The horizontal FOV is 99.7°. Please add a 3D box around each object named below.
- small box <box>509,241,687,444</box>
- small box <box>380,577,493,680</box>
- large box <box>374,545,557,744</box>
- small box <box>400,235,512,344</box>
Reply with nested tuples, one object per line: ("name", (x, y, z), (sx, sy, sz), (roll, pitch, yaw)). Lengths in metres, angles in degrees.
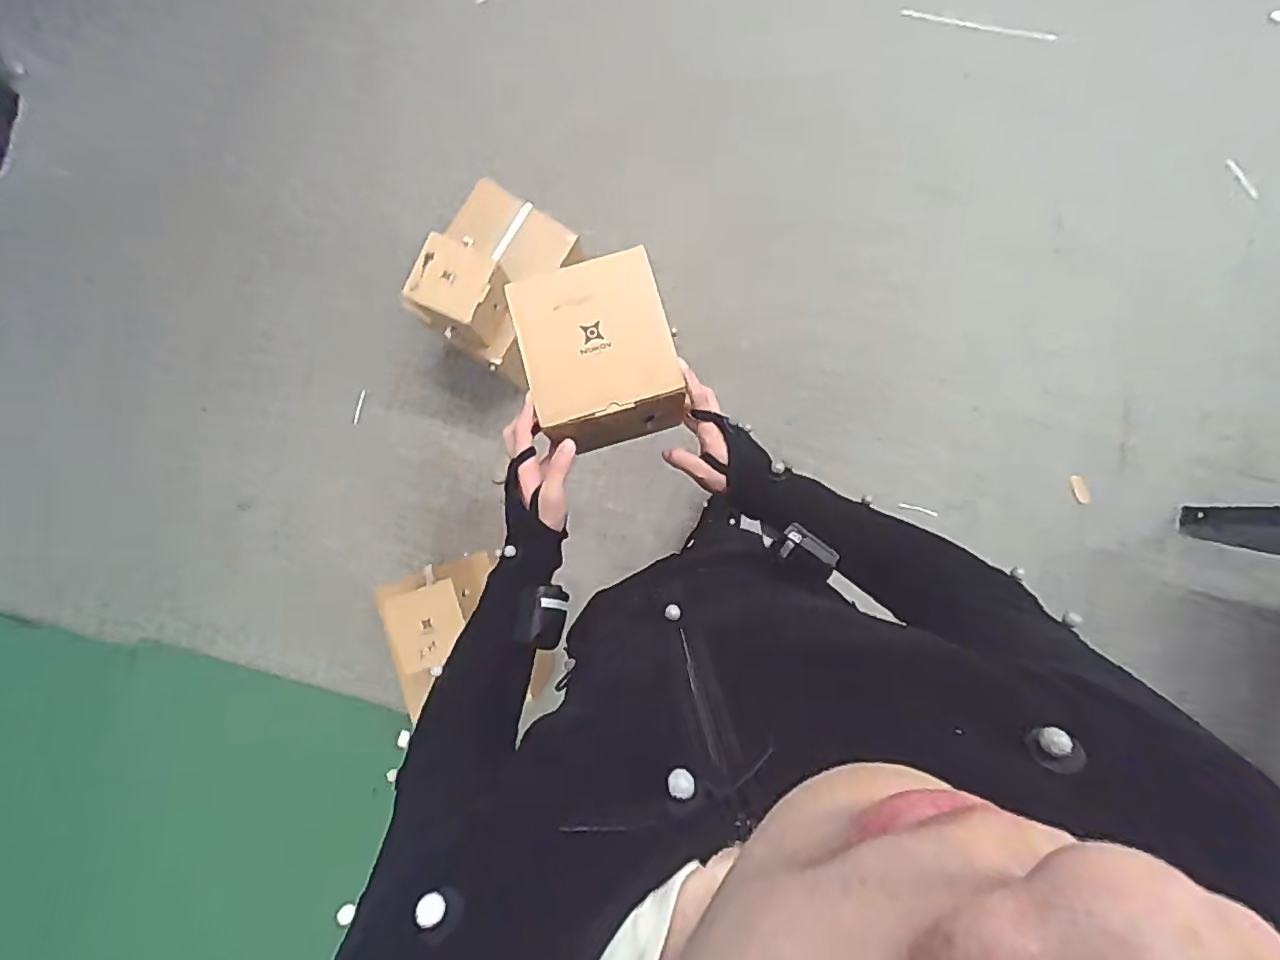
("small box", (-0.042, -0.151, 0.664), (0.168, 0.176, 0.179), (-15, 81, 0))
("small box", (-0.464, 0.333, 1.254), (0.168, 0.176, 0.179), (-19, 86, 0))
("large box", (-0.460, 0.427, 1.496), (0.320, 0.320, 0.408), (-19, 87, 2))
("small box", (-0.431, -0.447, 1.303), (0.179, 0.176, 0.168), (25, 87, 2))
